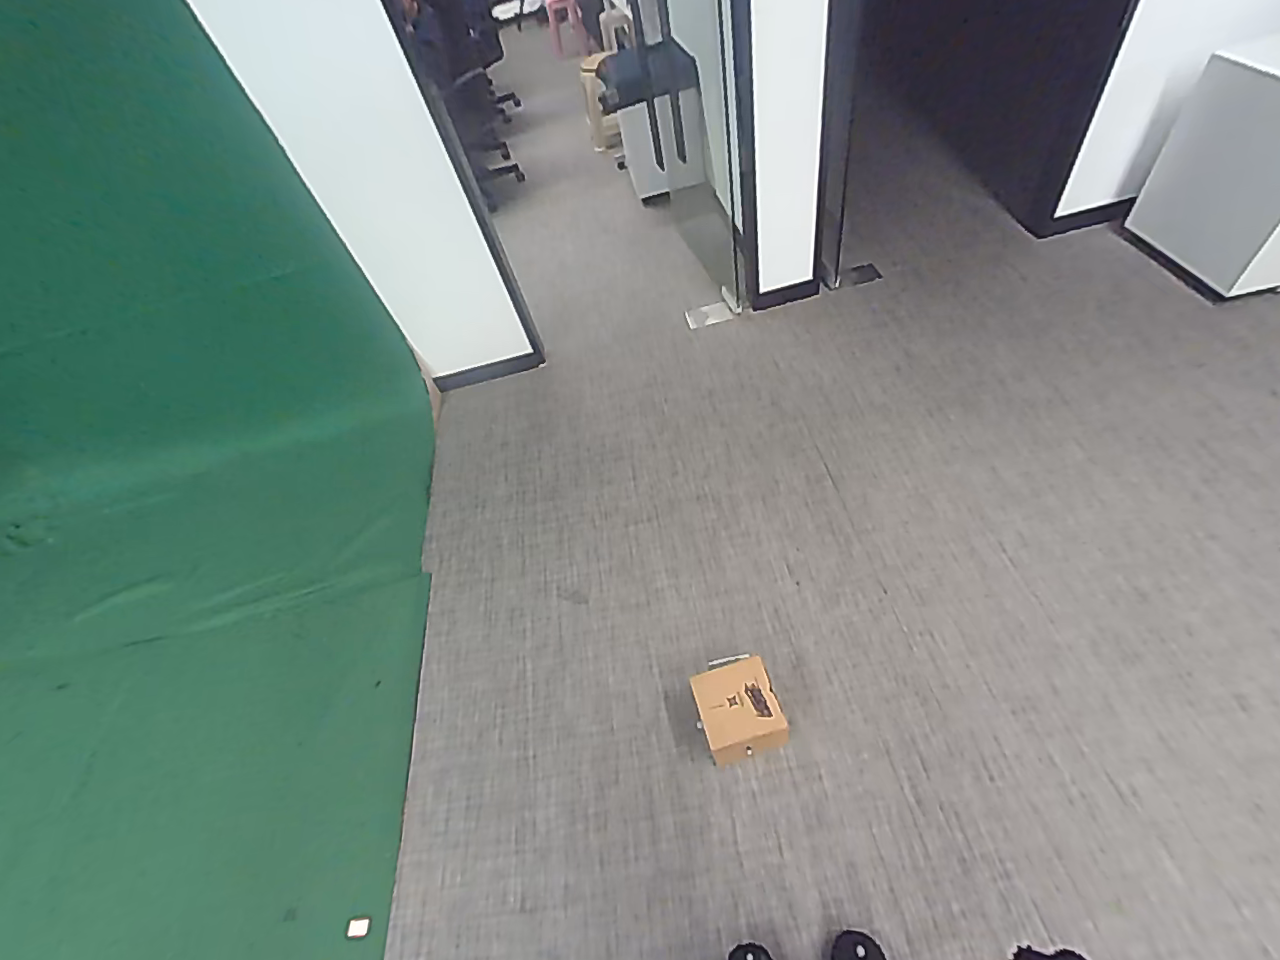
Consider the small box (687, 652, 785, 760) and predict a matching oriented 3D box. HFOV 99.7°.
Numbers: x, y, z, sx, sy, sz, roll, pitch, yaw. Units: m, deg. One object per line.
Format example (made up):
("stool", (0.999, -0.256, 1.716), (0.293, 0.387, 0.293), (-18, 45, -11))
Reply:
("small box", (0.224, 0.537, 1.277), (0.179, 0.176, 0.168), (-20, 51, -3))
